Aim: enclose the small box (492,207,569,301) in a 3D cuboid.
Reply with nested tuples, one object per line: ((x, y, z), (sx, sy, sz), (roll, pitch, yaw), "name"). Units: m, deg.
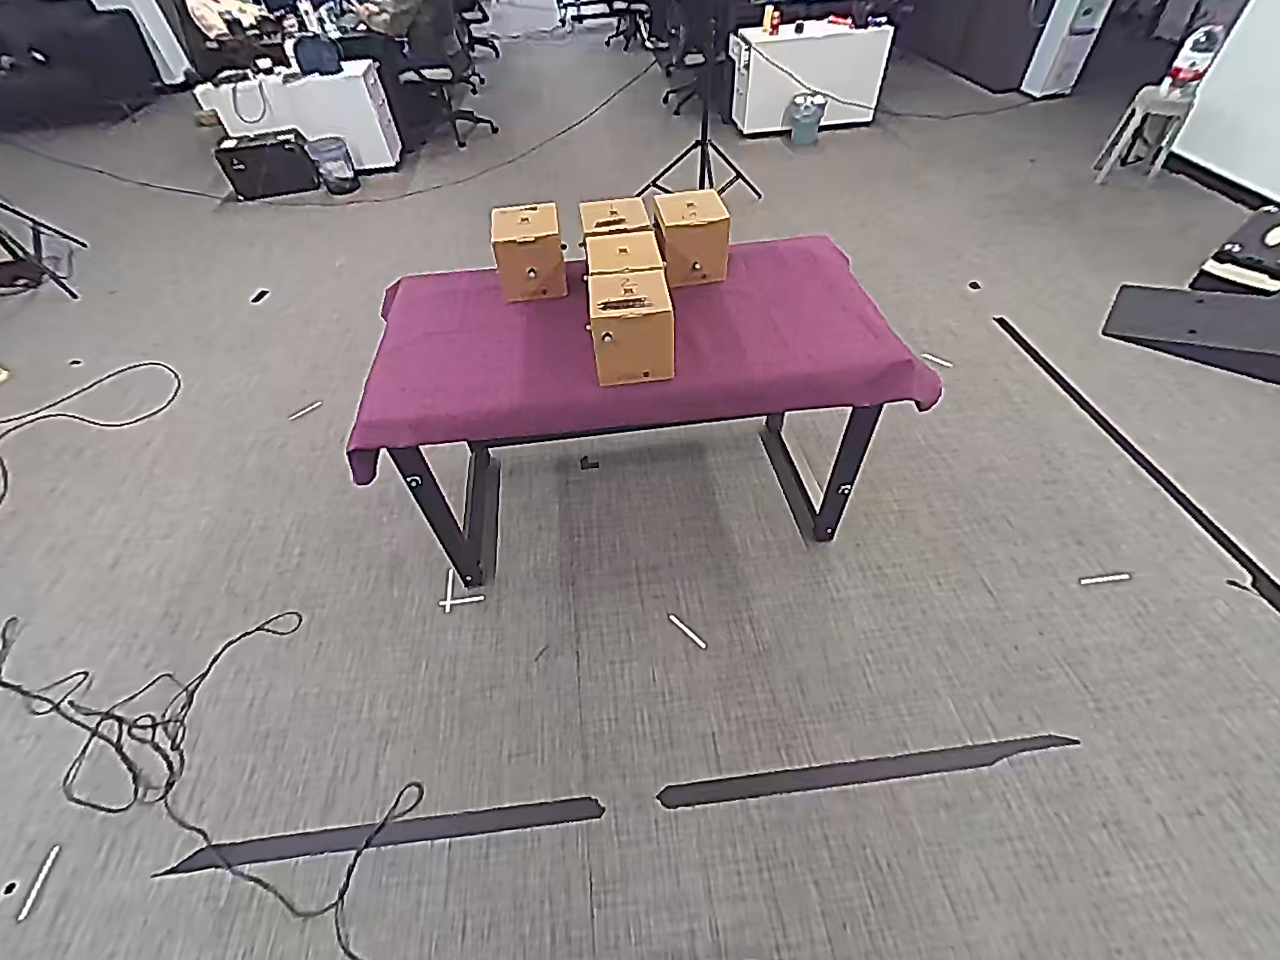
((-0.283, -0.584, 1.416), (0.168, 0.176, 0.179), (-8, 52, -3), "small box")
